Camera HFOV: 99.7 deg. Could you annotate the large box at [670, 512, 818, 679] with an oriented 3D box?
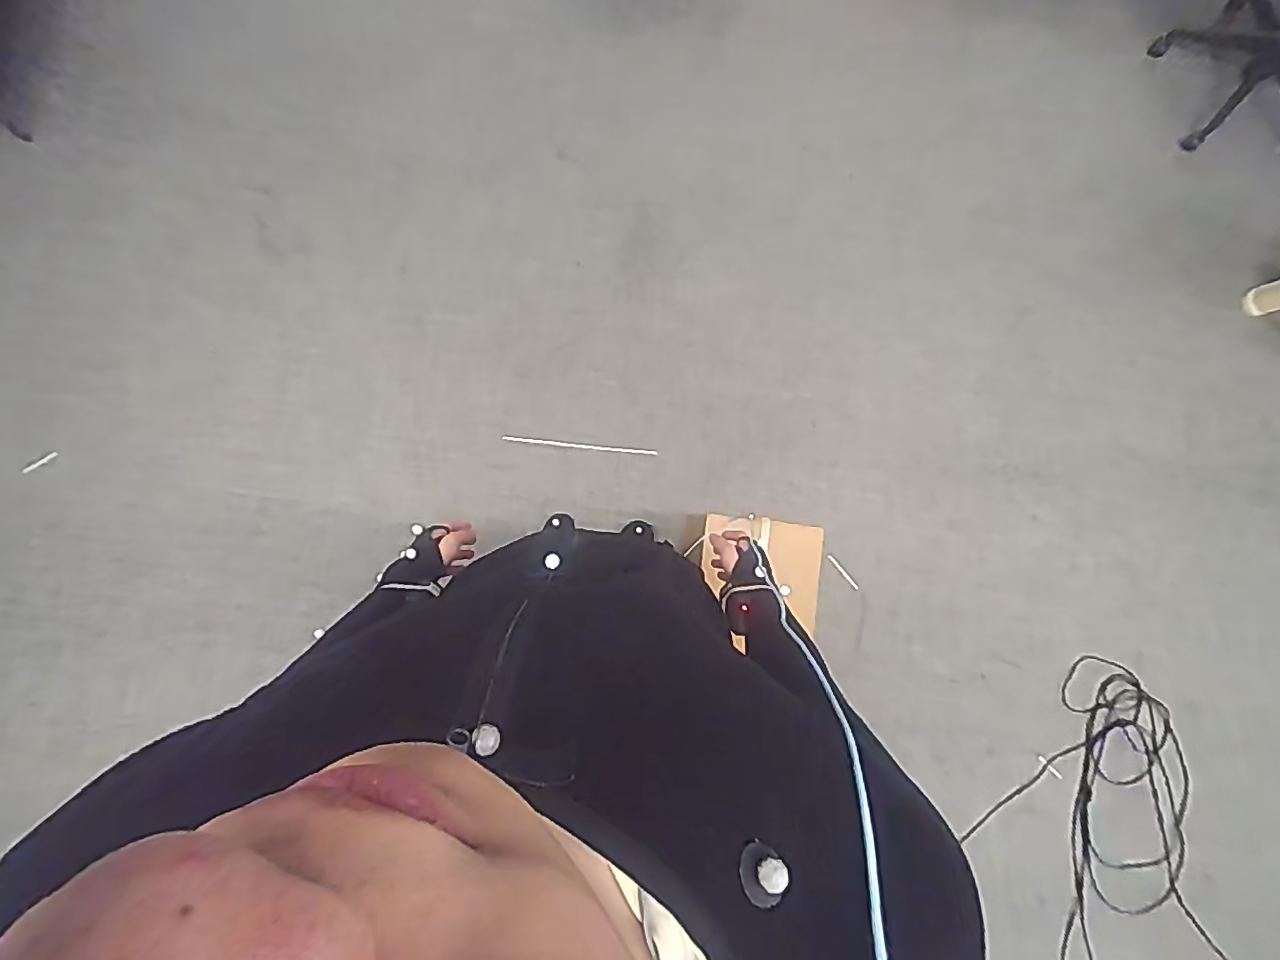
[{"bbox_3d":[0.277,0.302,1.528,0.320,0.320,0.408,8,86,-4],"label":"large box"}]
